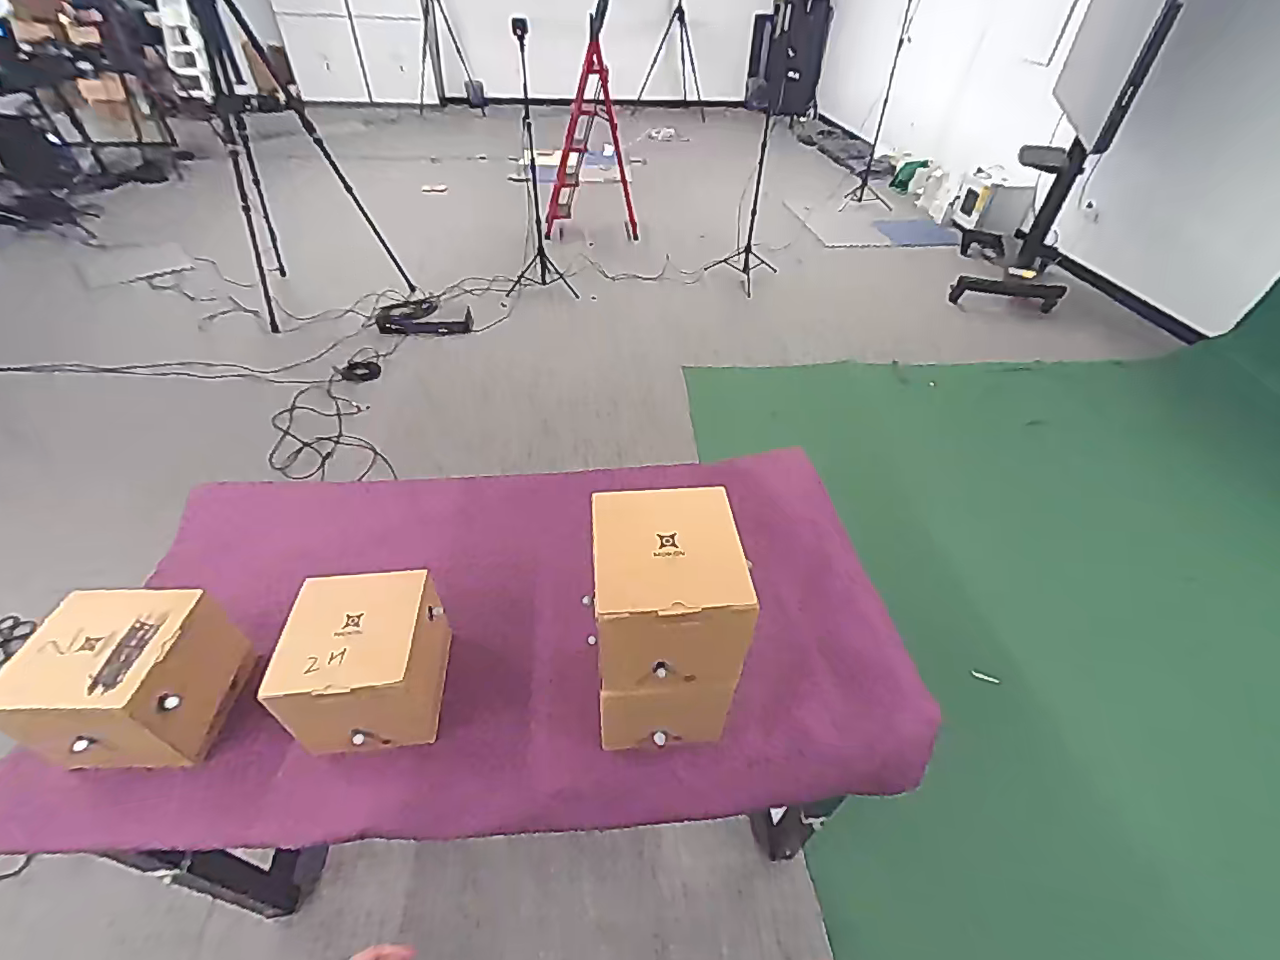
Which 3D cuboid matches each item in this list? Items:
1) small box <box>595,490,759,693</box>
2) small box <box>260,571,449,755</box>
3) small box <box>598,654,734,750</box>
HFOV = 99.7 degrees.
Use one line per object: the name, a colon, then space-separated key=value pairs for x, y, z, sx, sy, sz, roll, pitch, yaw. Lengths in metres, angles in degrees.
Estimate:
small box: x=0.030 y=0.132 z=0.654 sx=0.168 sy=0.176 sz=0.179 roll=-3 pitch=43 yaw=-5
small box: x=-0.371 y=0.250 z=0.745 sx=0.168 sy=0.176 sz=0.179 roll=-4 pitch=42 yaw=-6
small box: x=0.024 y=0.255 z=0.762 sx=0.168 sy=0.176 sz=0.179 roll=-2 pitch=44 yaw=-5
